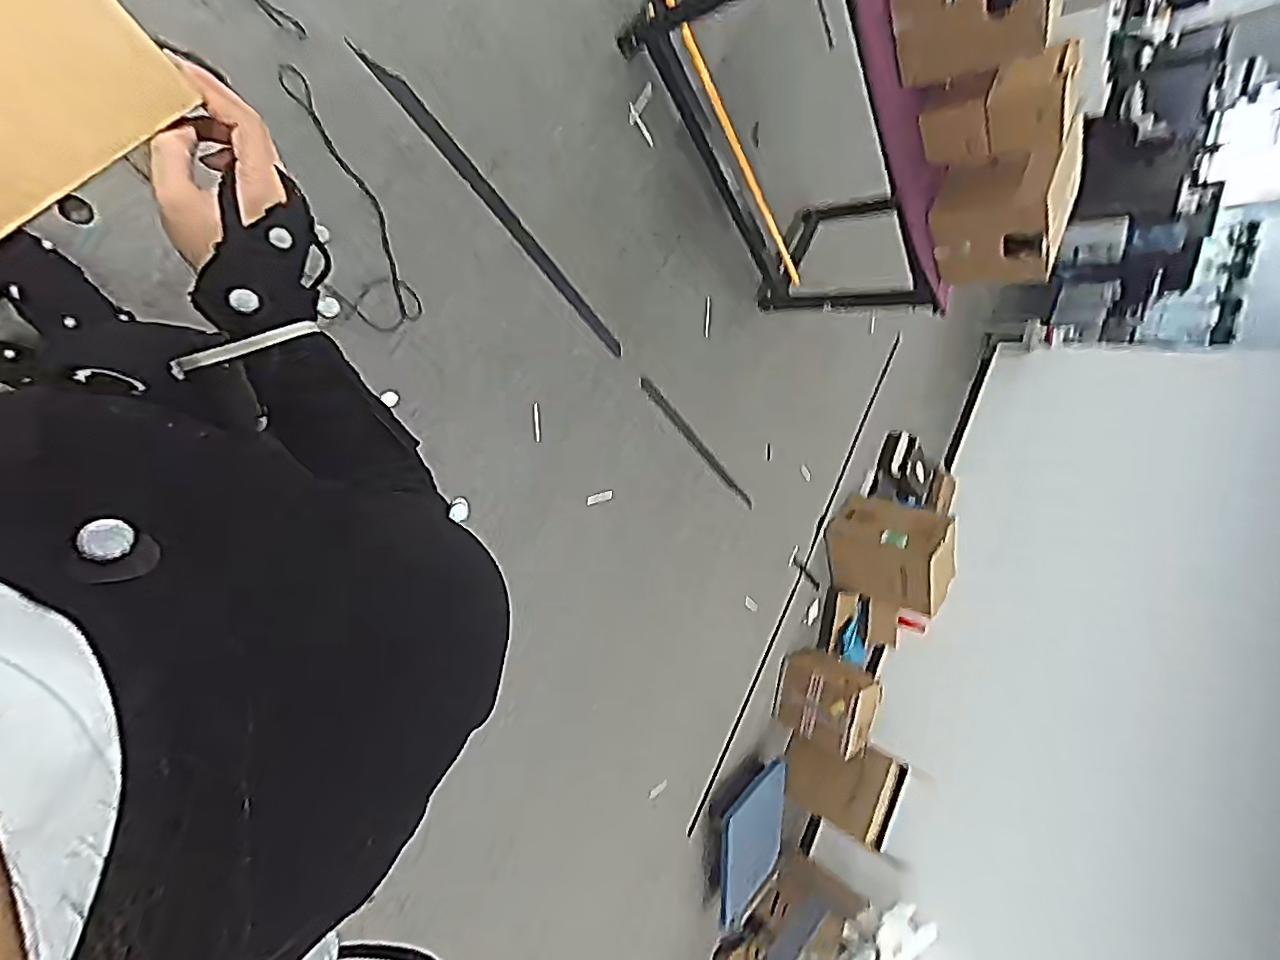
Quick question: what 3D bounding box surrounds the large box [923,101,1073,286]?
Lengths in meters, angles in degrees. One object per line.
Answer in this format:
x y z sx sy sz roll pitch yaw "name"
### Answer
1.152 -0.895 1.742 0.320 0.320 0.408 42 69 -46 "large box"
